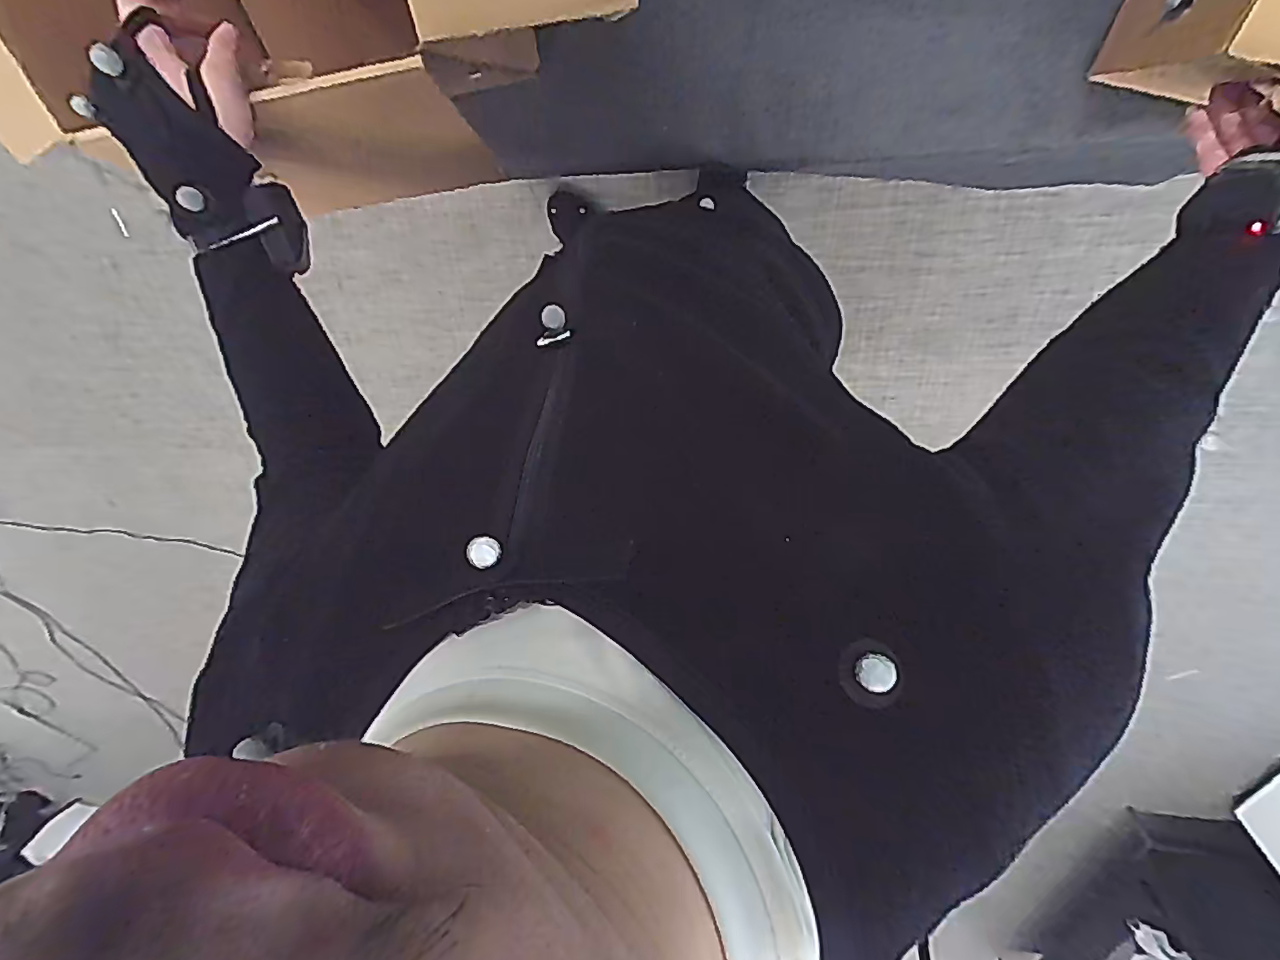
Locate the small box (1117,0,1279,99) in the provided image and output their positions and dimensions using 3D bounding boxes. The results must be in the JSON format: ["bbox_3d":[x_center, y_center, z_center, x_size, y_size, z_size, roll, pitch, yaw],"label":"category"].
[{"bbox_3d":[0.547,-0.426,0.432,0.168,0.176,0.179,11,122,-3],"label":"small box"}]
